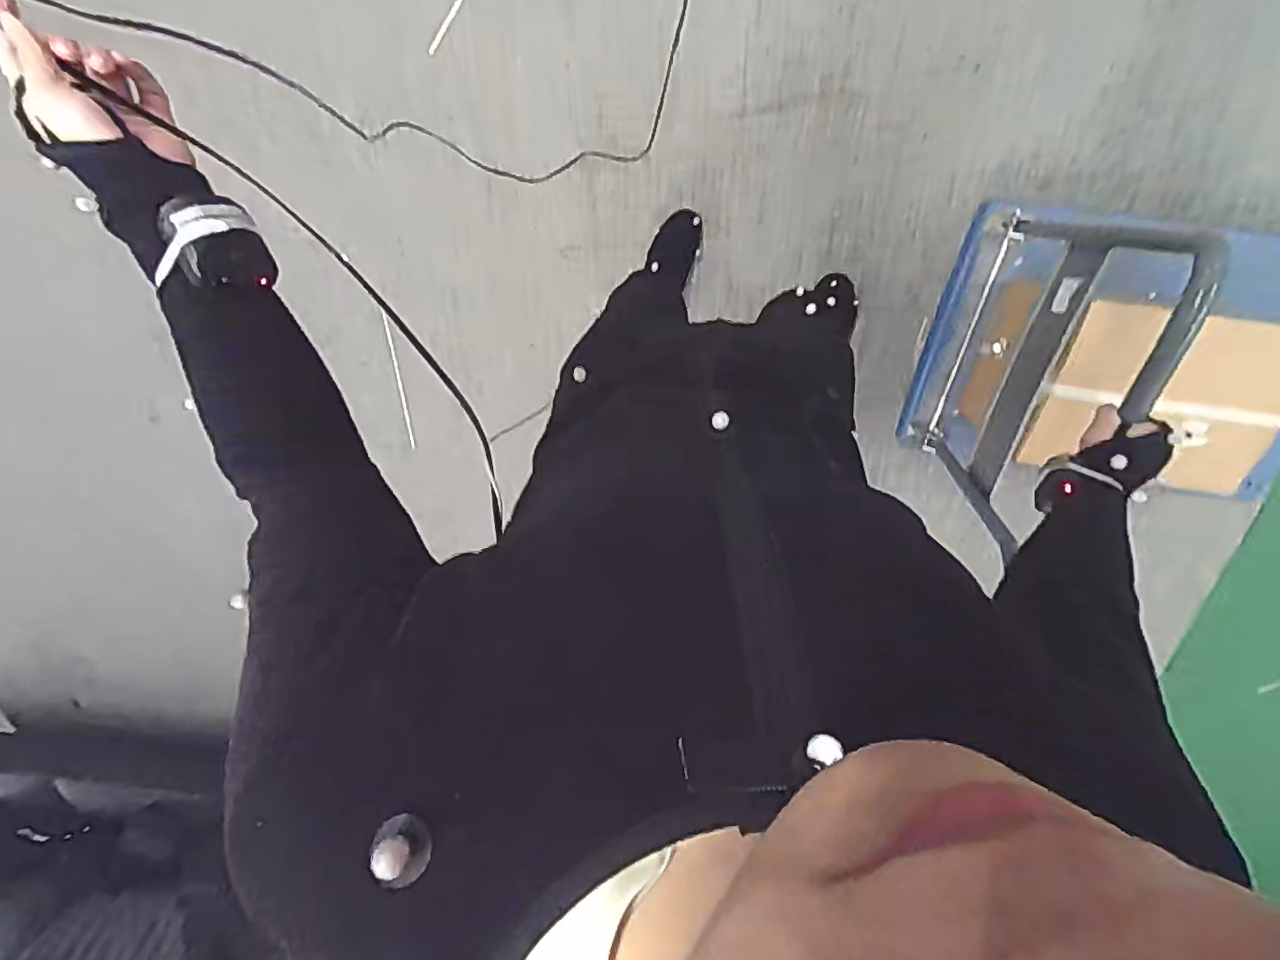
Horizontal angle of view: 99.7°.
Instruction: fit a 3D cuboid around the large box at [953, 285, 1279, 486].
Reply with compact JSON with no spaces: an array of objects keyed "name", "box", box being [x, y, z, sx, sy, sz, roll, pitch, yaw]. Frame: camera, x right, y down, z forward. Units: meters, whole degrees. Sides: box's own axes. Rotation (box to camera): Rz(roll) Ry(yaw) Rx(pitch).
[{"name":"large box","box":[0.957,-0.213,1.125,0.408,0.320,0.320,9,118,4]}]
